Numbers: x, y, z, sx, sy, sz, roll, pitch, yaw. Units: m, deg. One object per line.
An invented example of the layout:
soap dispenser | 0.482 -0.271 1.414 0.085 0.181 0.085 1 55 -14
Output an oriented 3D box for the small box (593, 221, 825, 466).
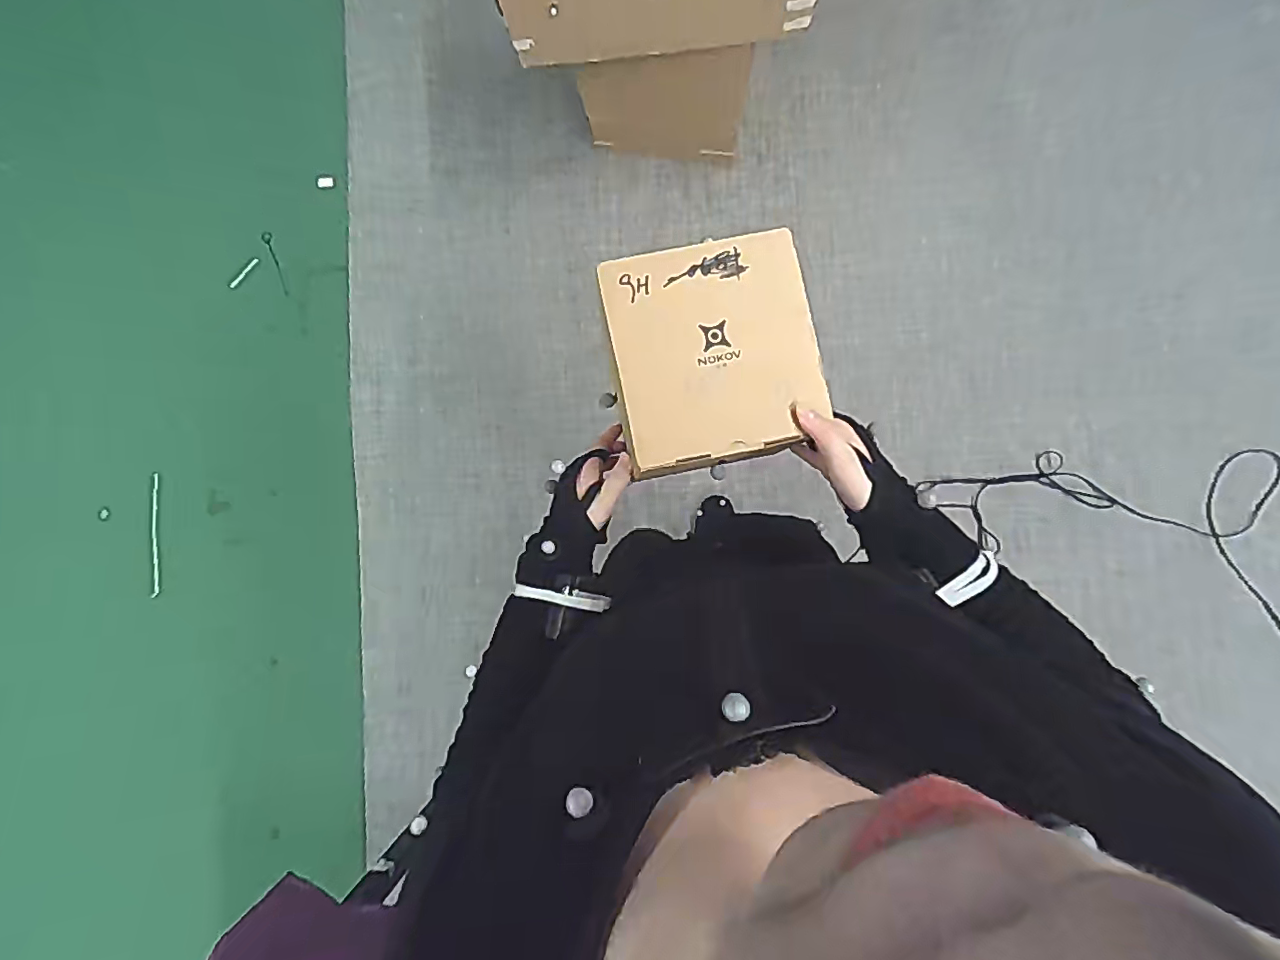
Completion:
small box | 0.055 -0.111 0.519 0.168 0.176 0.179 -11 88 -2
